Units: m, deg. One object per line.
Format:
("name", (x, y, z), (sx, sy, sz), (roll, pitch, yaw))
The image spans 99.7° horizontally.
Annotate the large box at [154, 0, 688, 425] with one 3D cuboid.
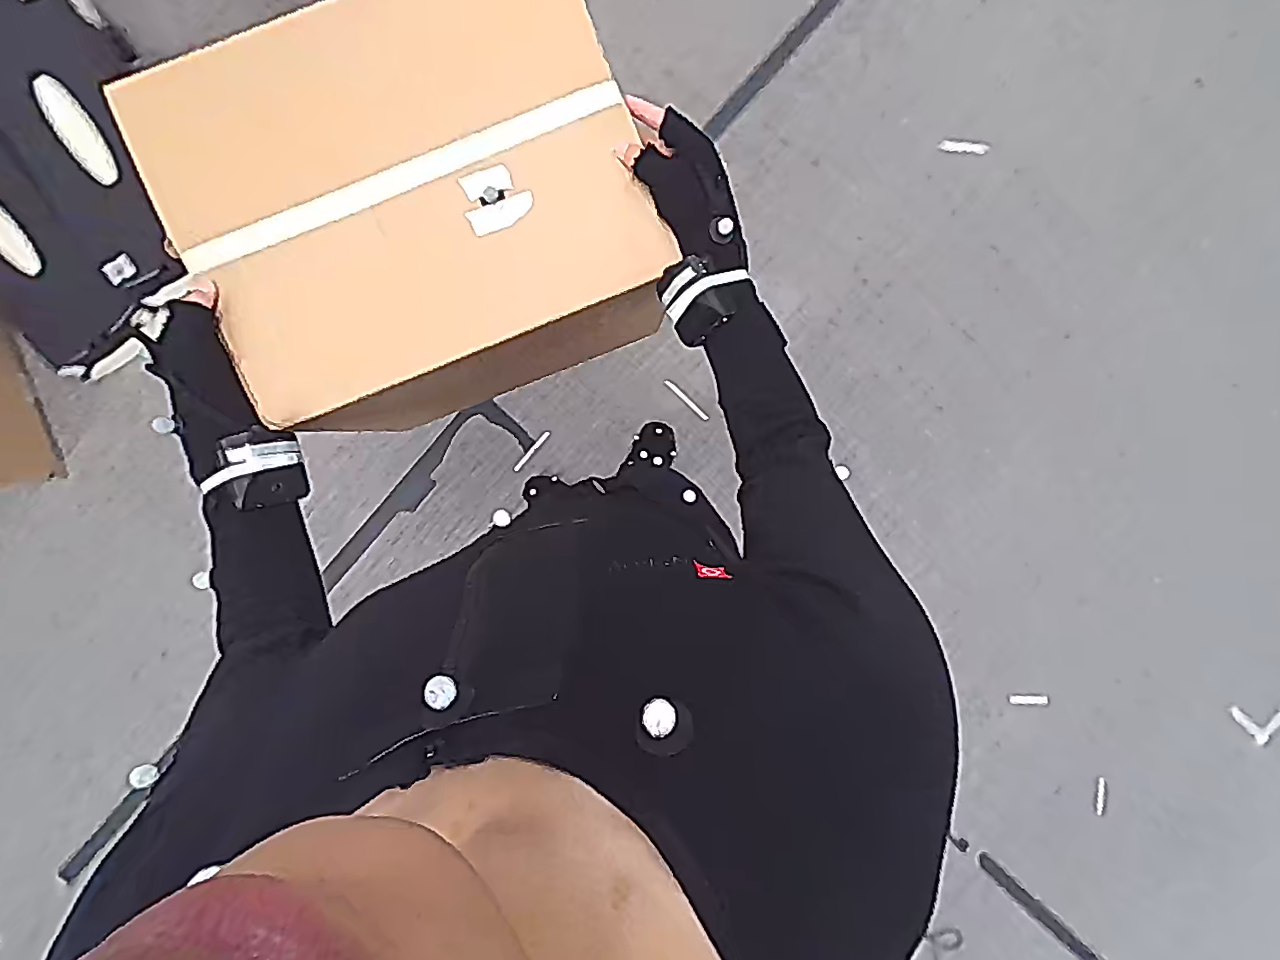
("large box", (-0.200, -0.281, 0.638), (0.408, 0.320, 0.320), (-21, 96, -1))
